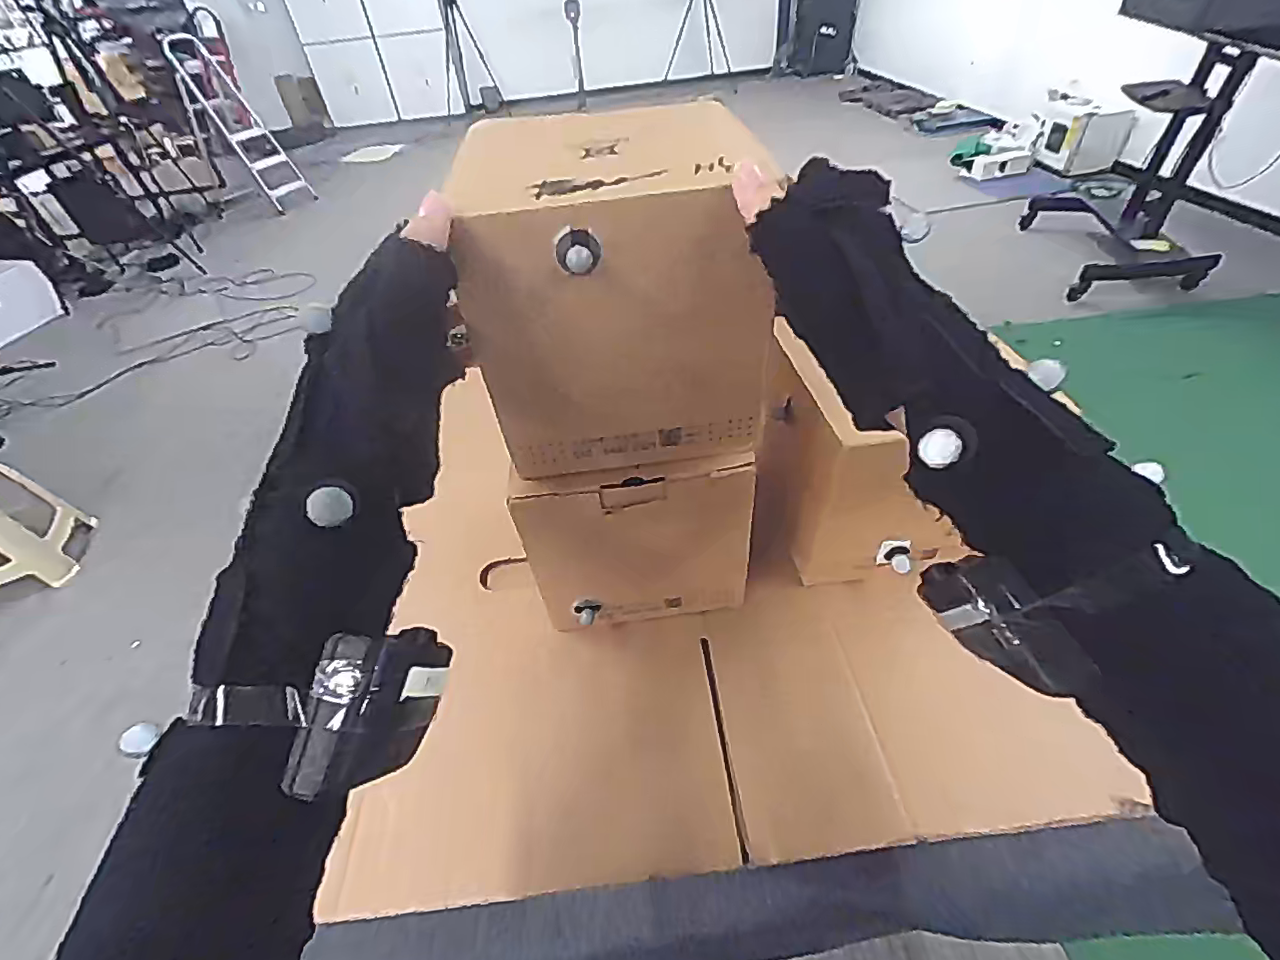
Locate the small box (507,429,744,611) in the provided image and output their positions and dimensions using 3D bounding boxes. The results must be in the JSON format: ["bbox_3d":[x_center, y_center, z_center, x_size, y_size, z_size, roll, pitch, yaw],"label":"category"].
[{"bbox_3d":[-0.008,-0.001,0.474,0.168,0.176,0.179,-7,44,0],"label":"small box"}]

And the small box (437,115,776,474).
[{"bbox_3d":[-0.016,-0.127,0.371,0.168,0.176,0.179,-7,44,0],"label":"small box"}]
